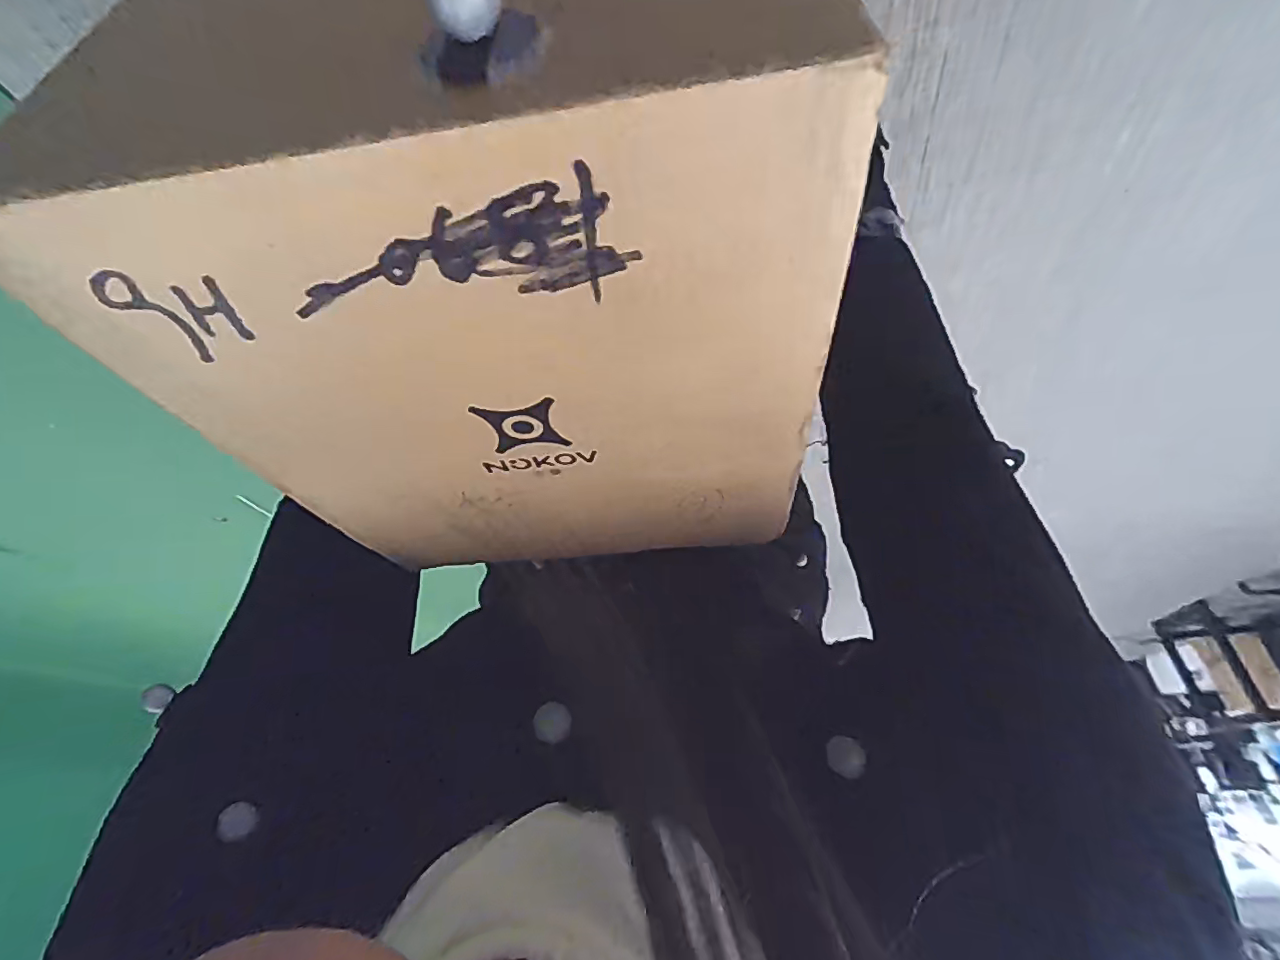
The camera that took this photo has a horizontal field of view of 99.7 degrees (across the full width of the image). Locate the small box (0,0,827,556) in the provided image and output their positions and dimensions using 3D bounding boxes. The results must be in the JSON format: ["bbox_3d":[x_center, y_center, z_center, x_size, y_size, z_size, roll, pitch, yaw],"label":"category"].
[{"bbox_3d":[-0.043,-0.084,0.203,0.168,0.176,0.179,-5,150,5],"label":"small box"}]
